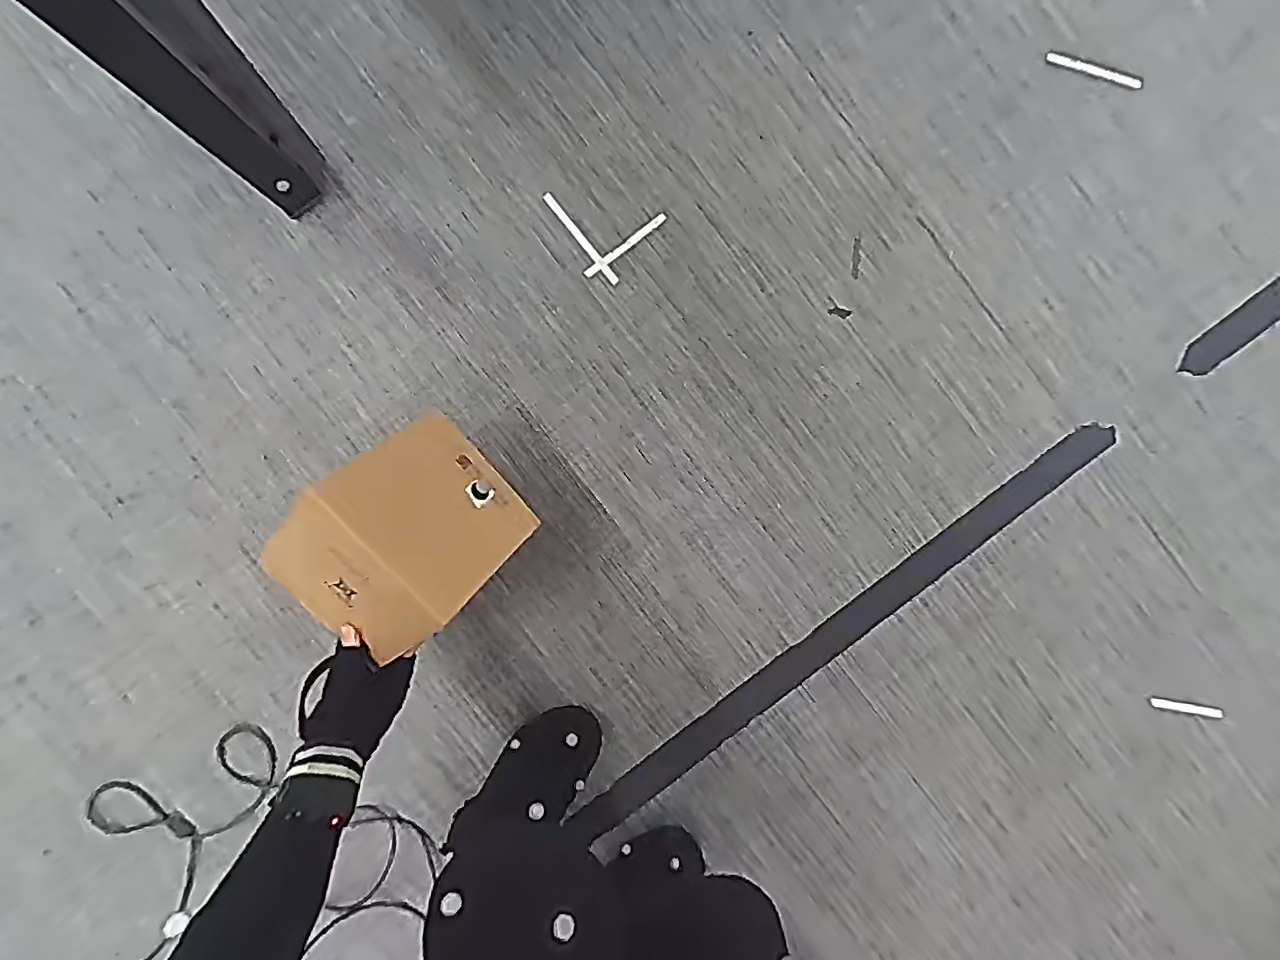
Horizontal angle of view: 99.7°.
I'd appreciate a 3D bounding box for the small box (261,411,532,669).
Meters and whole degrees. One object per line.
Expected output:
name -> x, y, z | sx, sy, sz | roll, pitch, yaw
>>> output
small box -> -0.244, 0.060, 0.563 | 0.168, 0.176, 0.179 | 47, 130, -9
